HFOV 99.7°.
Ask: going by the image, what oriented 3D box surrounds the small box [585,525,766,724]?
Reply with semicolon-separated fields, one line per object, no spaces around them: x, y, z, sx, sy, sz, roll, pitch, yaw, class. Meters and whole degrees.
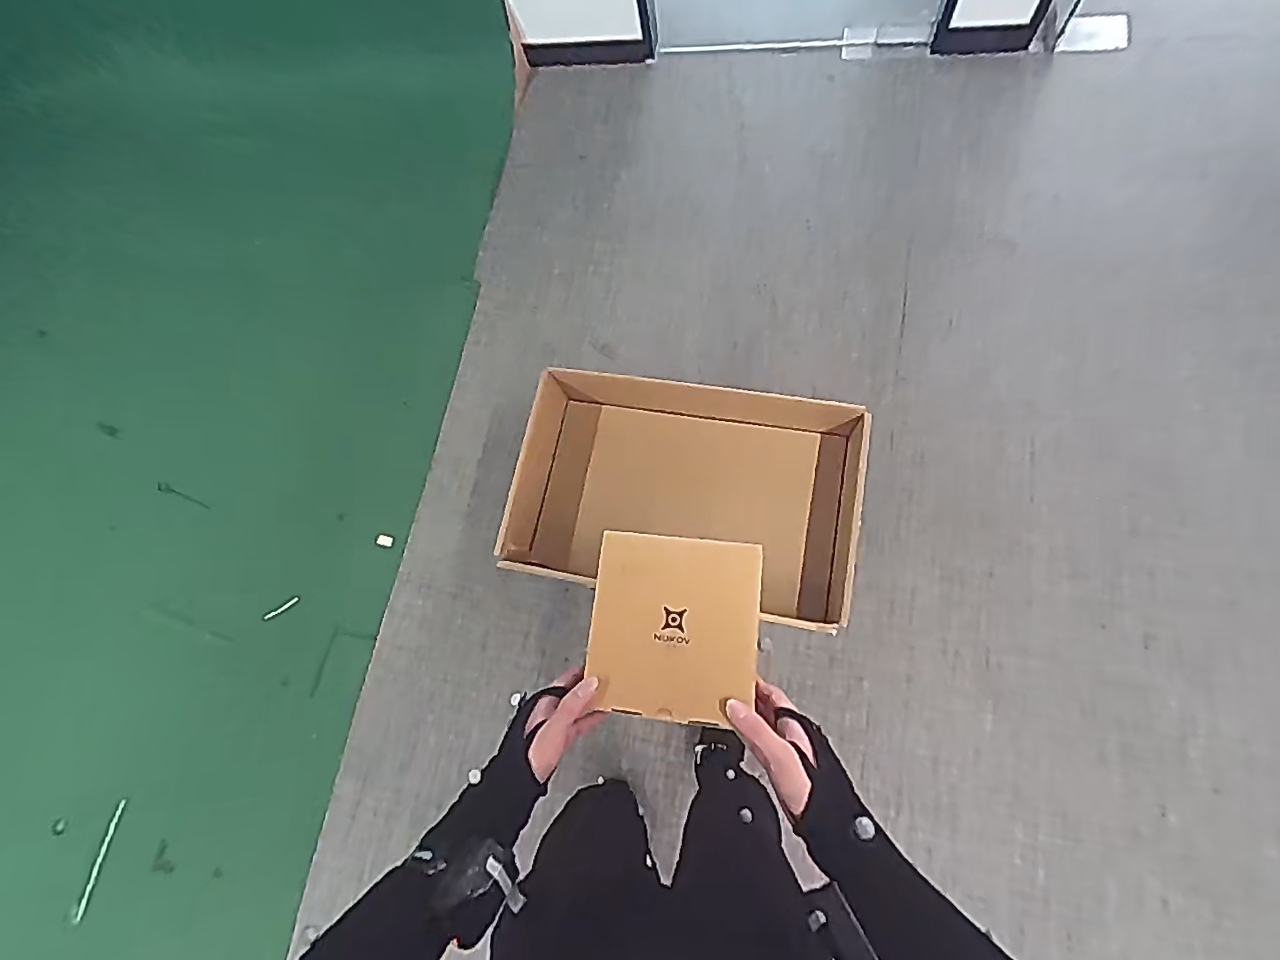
0.045;0.157;0.608;0.168;0.176;0.179;4;75;9;small box
